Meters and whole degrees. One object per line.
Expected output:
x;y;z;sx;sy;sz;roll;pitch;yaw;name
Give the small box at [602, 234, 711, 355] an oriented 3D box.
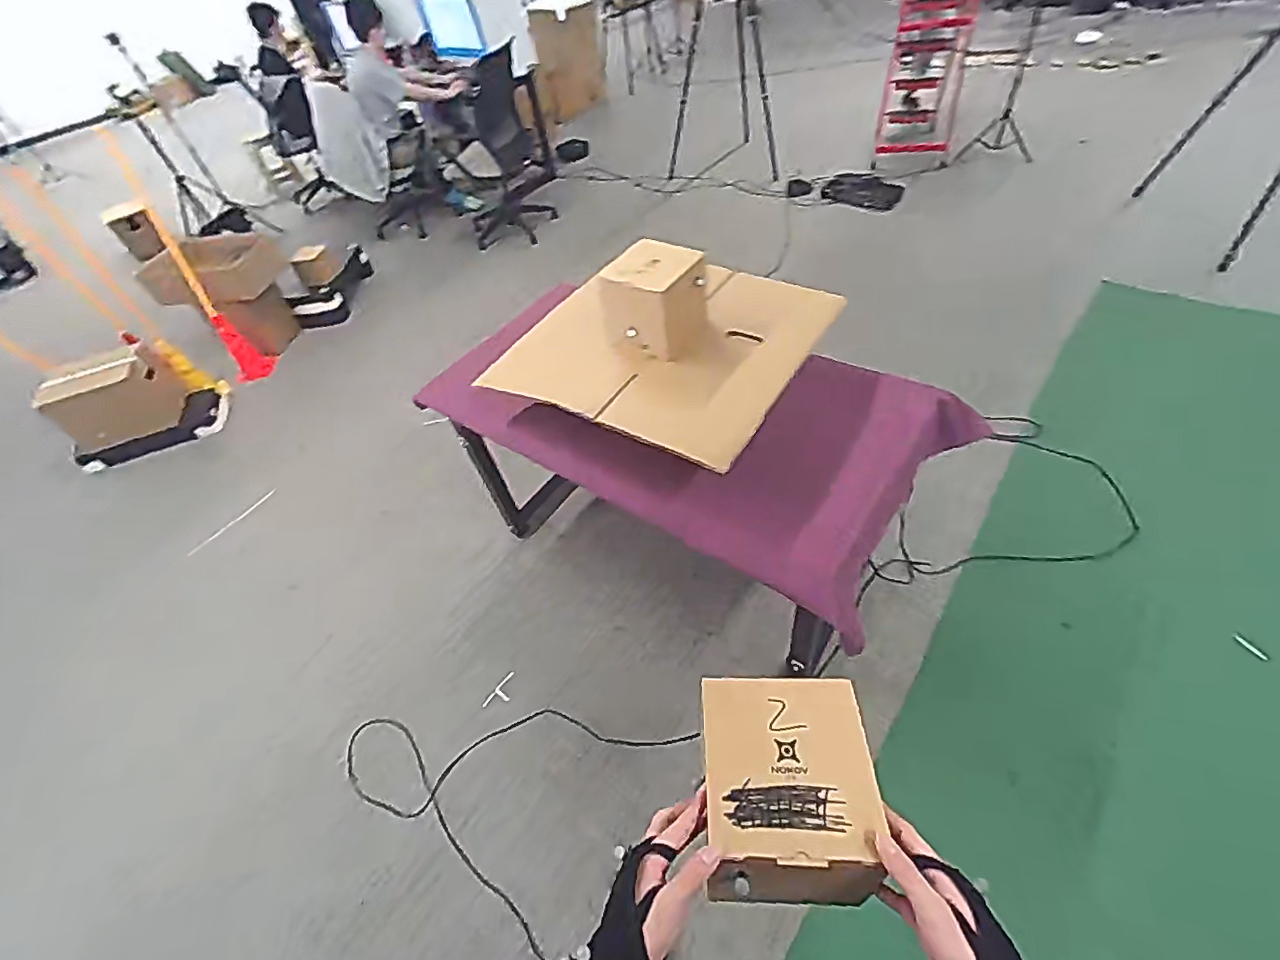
0.041;-0.406;1.186;0.168;0.176;0.179;26;59;27;small box
